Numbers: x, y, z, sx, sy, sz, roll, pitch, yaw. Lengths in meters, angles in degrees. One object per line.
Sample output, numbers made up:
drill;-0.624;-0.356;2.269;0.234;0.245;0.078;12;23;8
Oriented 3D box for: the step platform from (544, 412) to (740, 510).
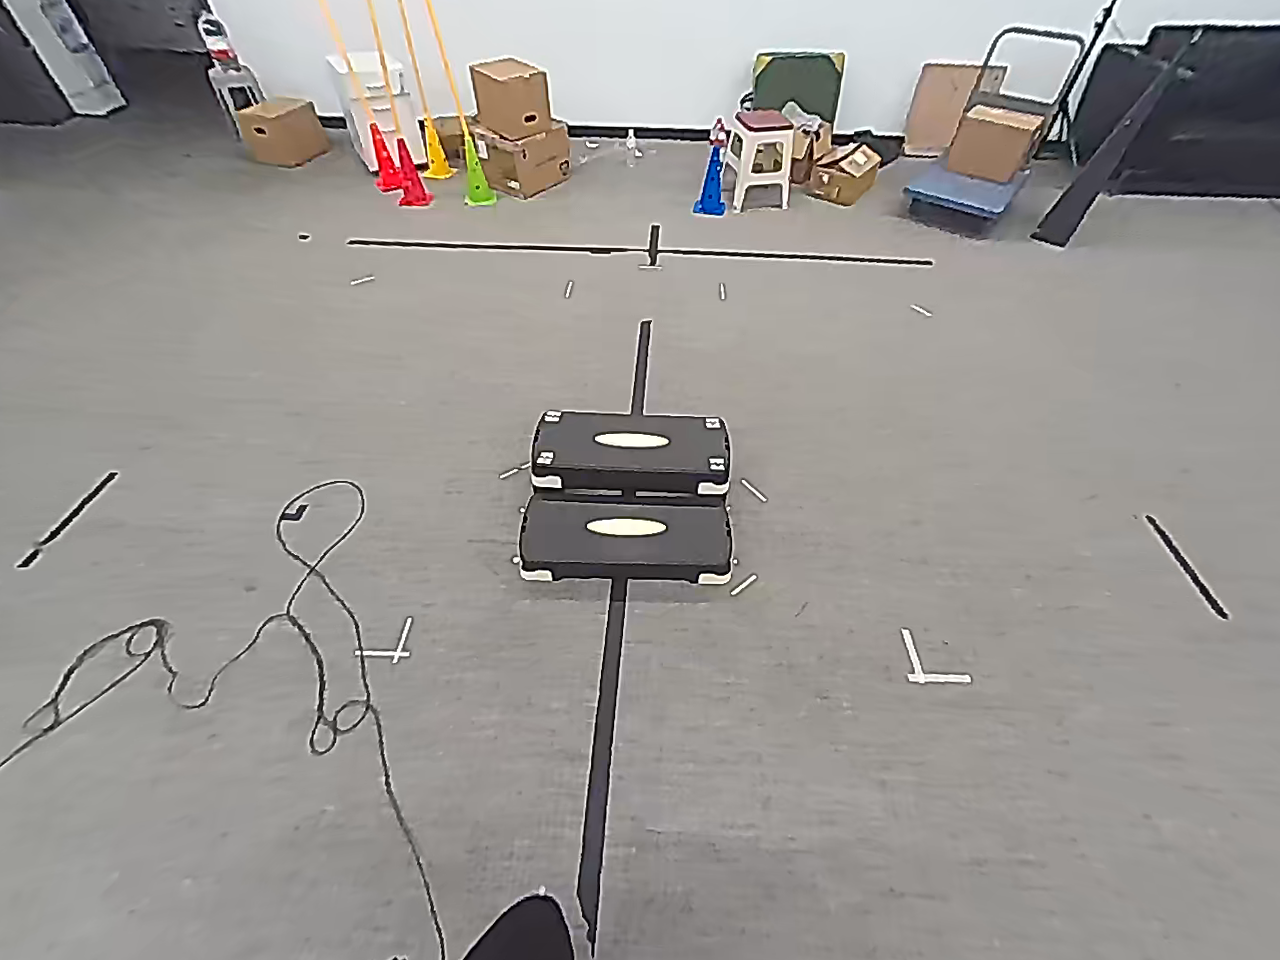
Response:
step platform;0.007;-0.073;1.905;0.684;0.204;0.286;3;49;-1
